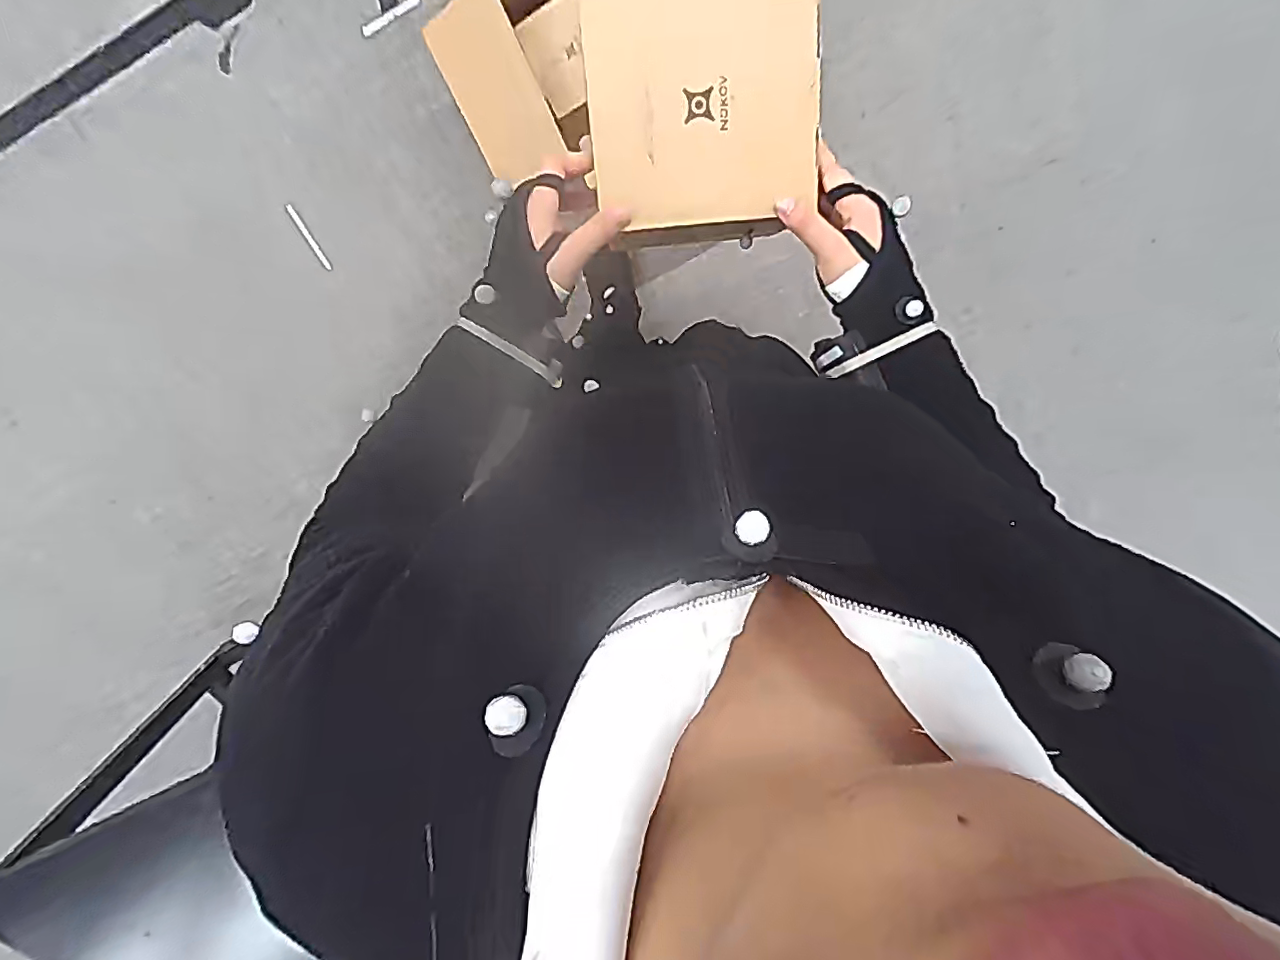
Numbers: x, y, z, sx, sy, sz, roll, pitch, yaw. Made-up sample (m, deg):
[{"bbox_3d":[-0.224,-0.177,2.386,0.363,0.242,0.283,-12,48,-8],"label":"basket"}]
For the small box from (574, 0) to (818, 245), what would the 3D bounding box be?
[{"bbox_3d":[0.045,-0.310,0.479,0.179,0.176,0.168,-5,108,3],"label":"small box"}]
